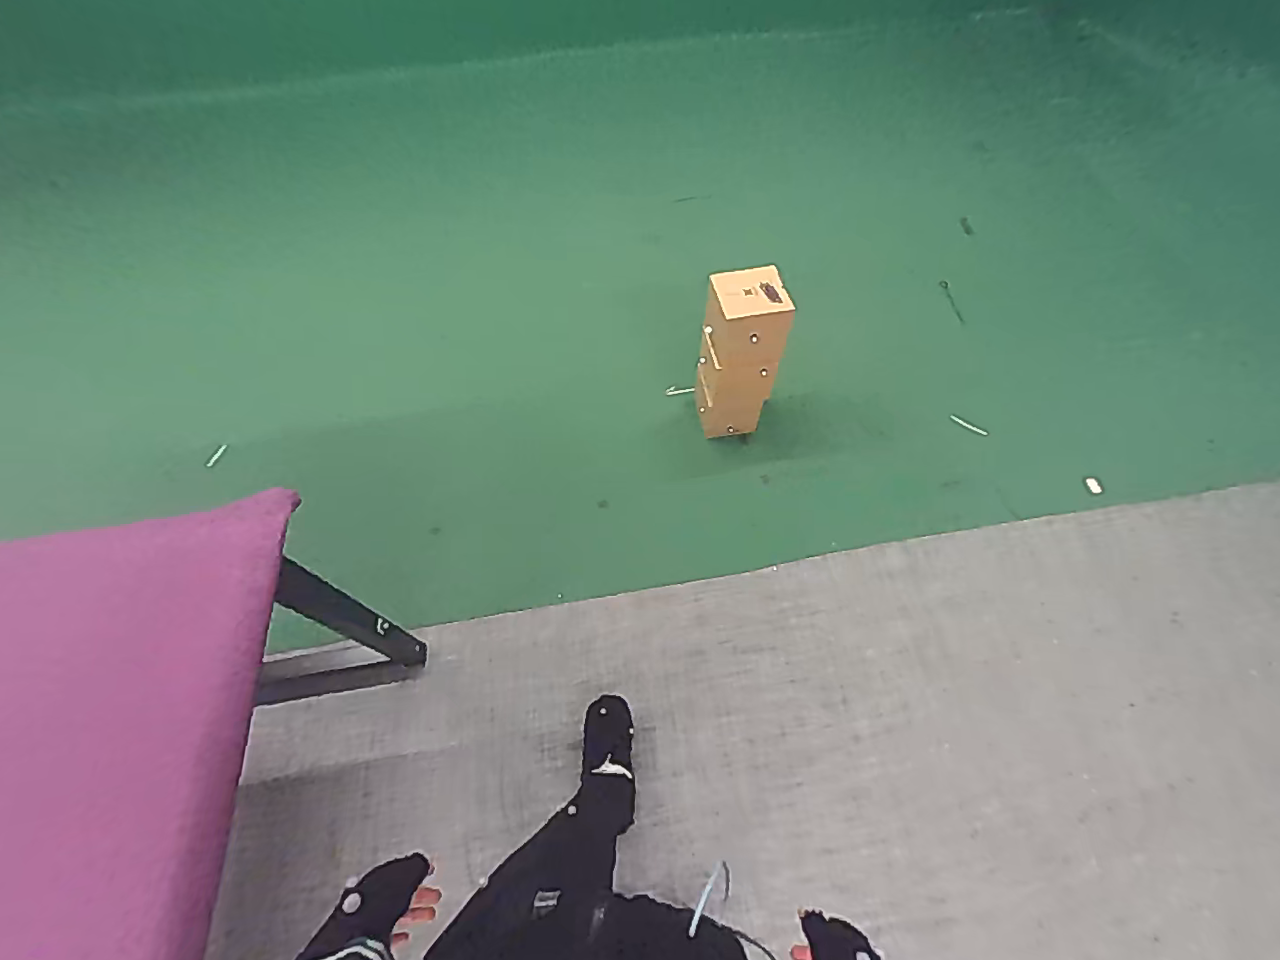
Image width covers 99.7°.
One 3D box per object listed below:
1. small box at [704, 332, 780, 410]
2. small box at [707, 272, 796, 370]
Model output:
[{"bbox_3d":[0.283,-0.319,1.551,0.179,0.176,0.168,-9,60,-4],"label":"small box"},{"bbox_3d":[0.284,-0.412,1.415,0.179,0.176,0.168,-10,59,-4],"label":"small box"}]
